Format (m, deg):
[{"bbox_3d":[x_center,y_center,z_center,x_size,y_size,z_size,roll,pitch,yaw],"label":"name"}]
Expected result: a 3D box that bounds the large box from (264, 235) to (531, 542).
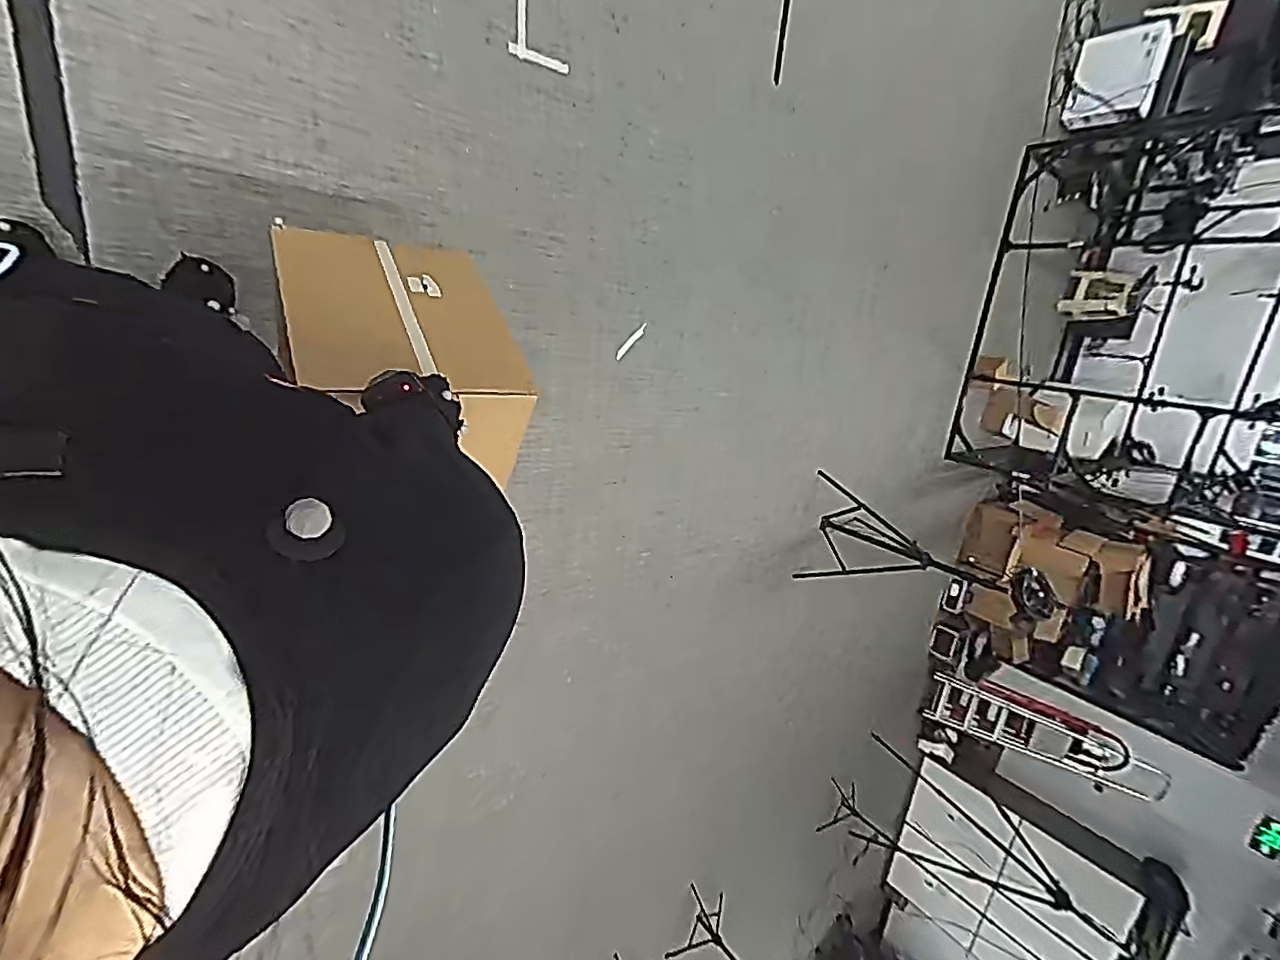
[{"bbox_3d":[-0.434,-0.157,0.934,0.320,0.408,0.320,-6,140,-37],"label":"large box"}]
